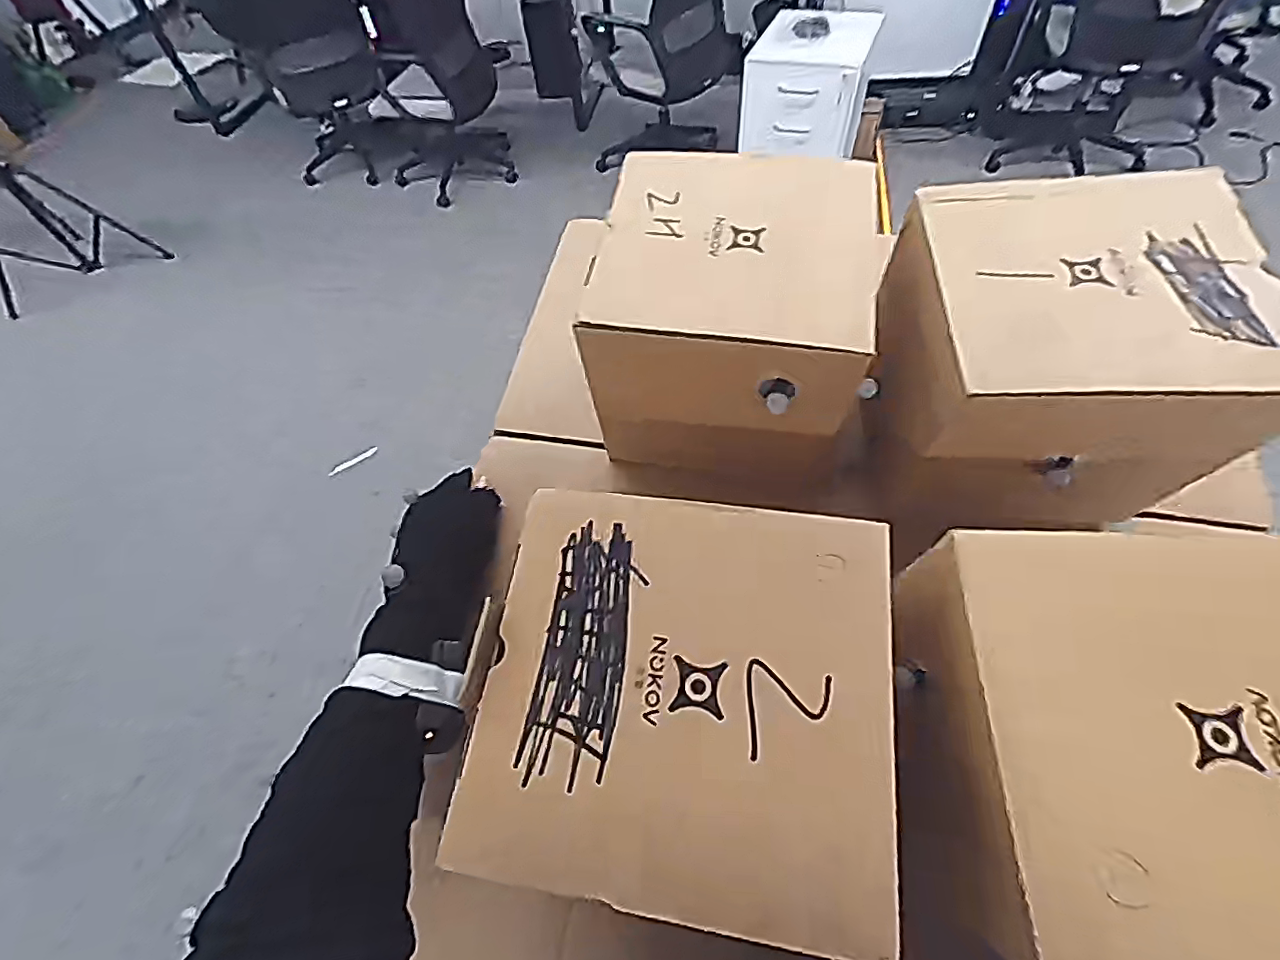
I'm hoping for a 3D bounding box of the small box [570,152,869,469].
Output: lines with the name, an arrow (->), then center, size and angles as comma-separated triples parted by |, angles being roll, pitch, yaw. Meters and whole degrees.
small box -> 0.064, -0.123, 0.427 | 0.179, 0.176, 0.168 | 8, 64, 10
